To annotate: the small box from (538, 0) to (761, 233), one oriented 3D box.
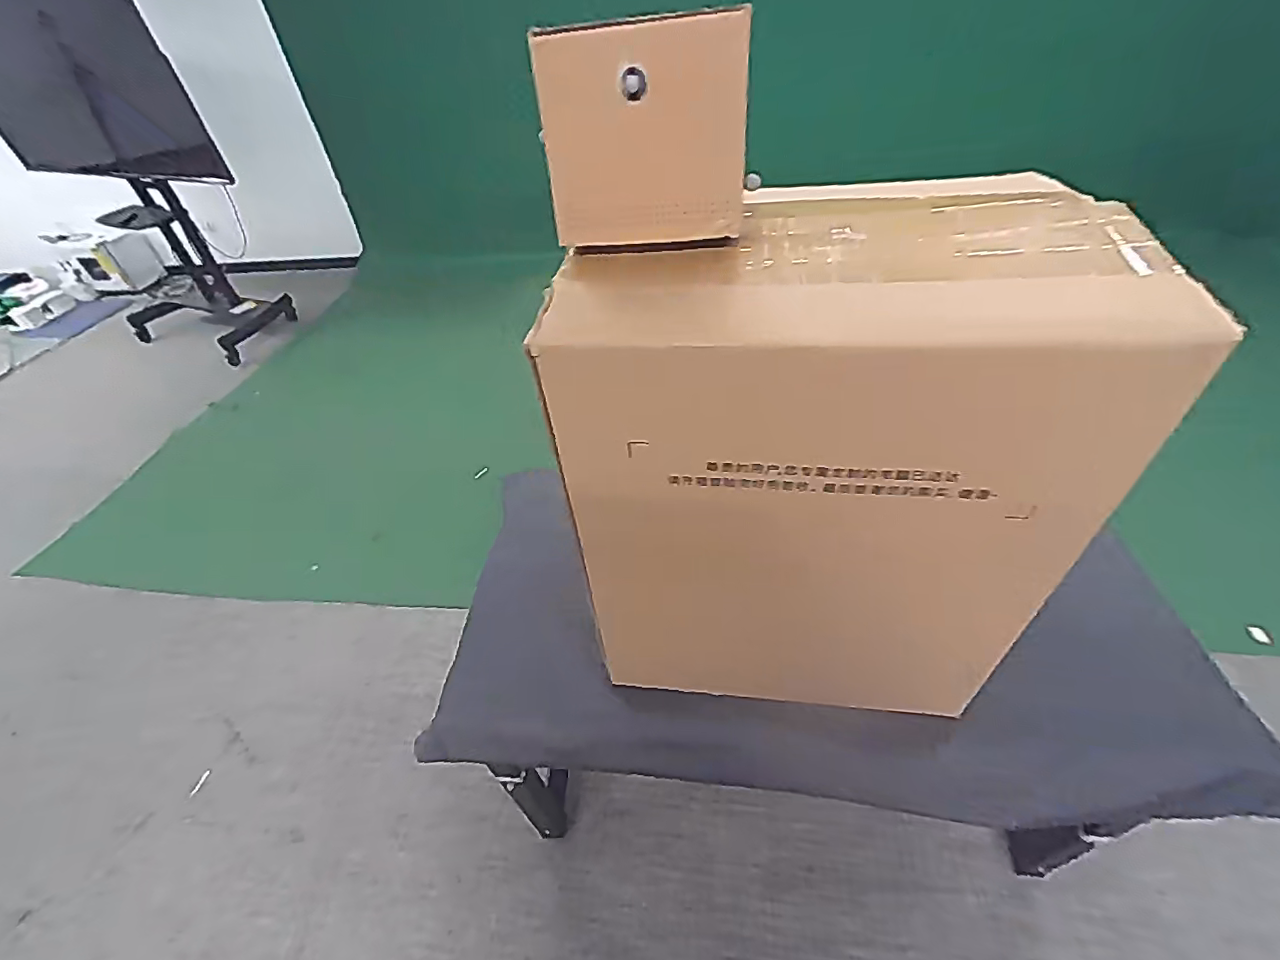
[{"bbox_3d":[0.017,-0.344,0.521,0.179,0.176,0.168,2,38,5],"label":"small box"}]
